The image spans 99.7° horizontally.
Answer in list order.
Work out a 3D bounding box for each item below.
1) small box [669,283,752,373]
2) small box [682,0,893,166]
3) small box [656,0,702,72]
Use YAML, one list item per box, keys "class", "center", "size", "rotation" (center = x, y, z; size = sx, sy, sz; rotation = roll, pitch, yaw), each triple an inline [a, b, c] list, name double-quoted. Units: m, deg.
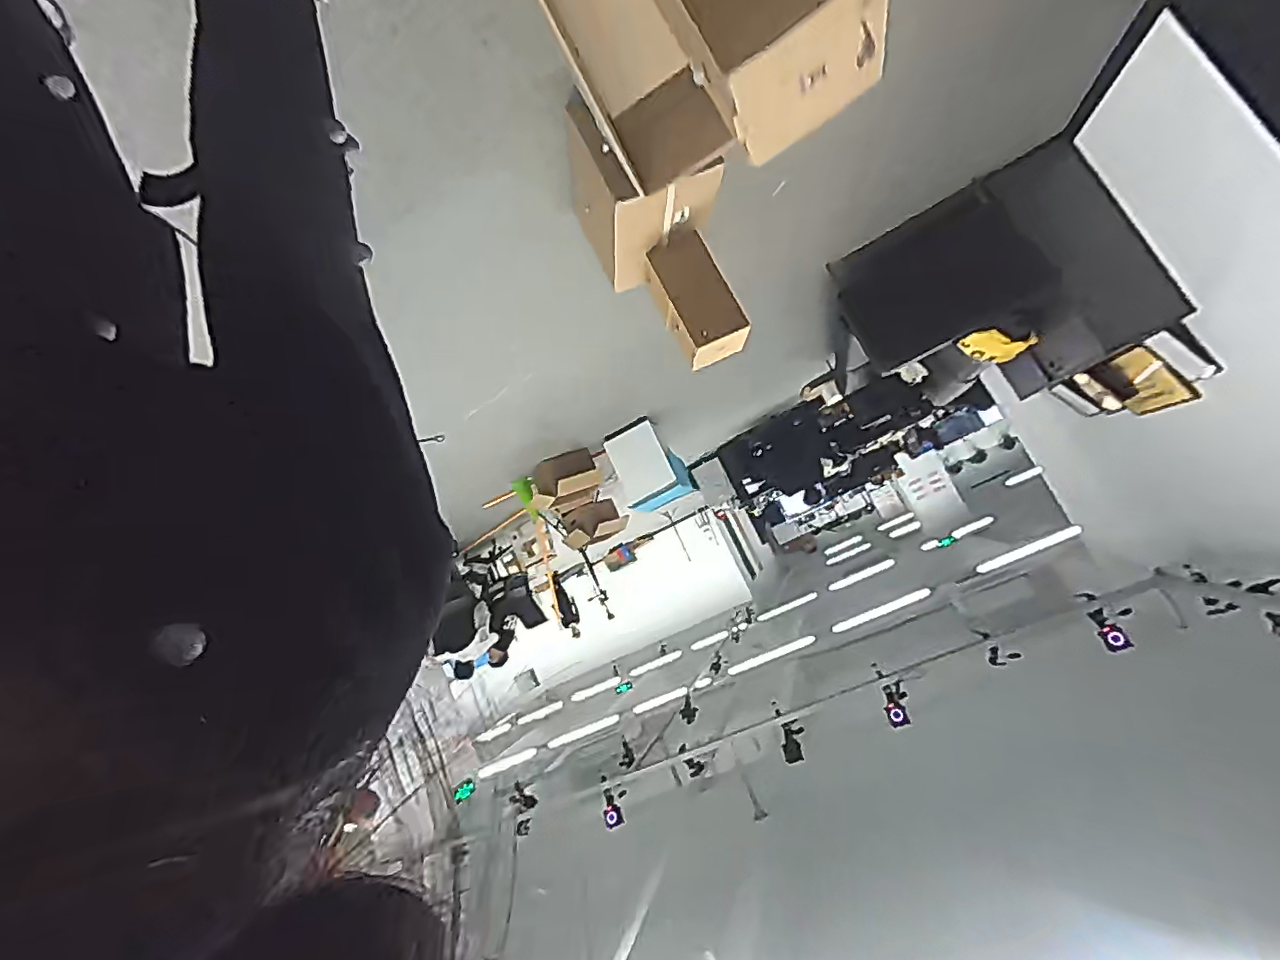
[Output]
- class: "small box"
  center: [0.205, -0.453, 1.608]
  size: [0.179, 0.176, 0.168]
  rotation: [-24, 169, -4]
- class: "small box"
  center: [0.158, -0.514, 0.608]
  size: [0.179, 0.176, 0.168]
  rotation: [-27, 169, 17]
- class: "small box"
  center: [0.093, -0.660, 0.641]
  size: [0.179, 0.176, 0.168]
  rotation: [-27, 169, 15]
